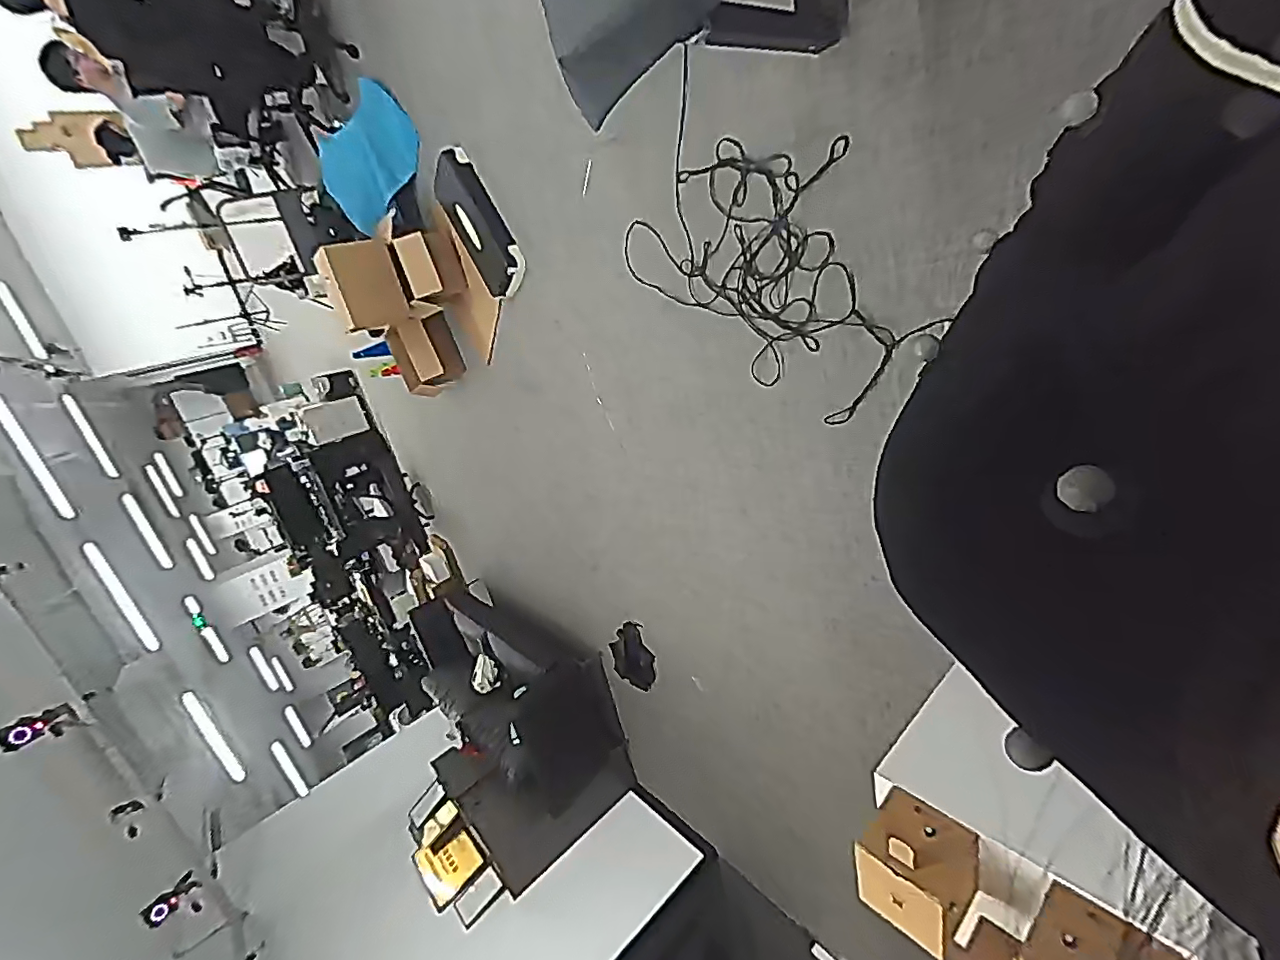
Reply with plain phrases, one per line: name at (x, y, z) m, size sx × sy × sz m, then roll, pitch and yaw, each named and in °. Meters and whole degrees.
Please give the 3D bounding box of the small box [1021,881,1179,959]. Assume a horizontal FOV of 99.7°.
small box at (0.727, 0.801, 0.859) m, size 0.168 × 0.176 × 0.179 m, roll 15°, pitch 127°, yaw 51°

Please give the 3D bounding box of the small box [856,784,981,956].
small box at (0.552, 0.758, 1.069) m, size 0.168 × 0.176 × 0.179 m, roll 13°, pitch 124°, yaw 49°
